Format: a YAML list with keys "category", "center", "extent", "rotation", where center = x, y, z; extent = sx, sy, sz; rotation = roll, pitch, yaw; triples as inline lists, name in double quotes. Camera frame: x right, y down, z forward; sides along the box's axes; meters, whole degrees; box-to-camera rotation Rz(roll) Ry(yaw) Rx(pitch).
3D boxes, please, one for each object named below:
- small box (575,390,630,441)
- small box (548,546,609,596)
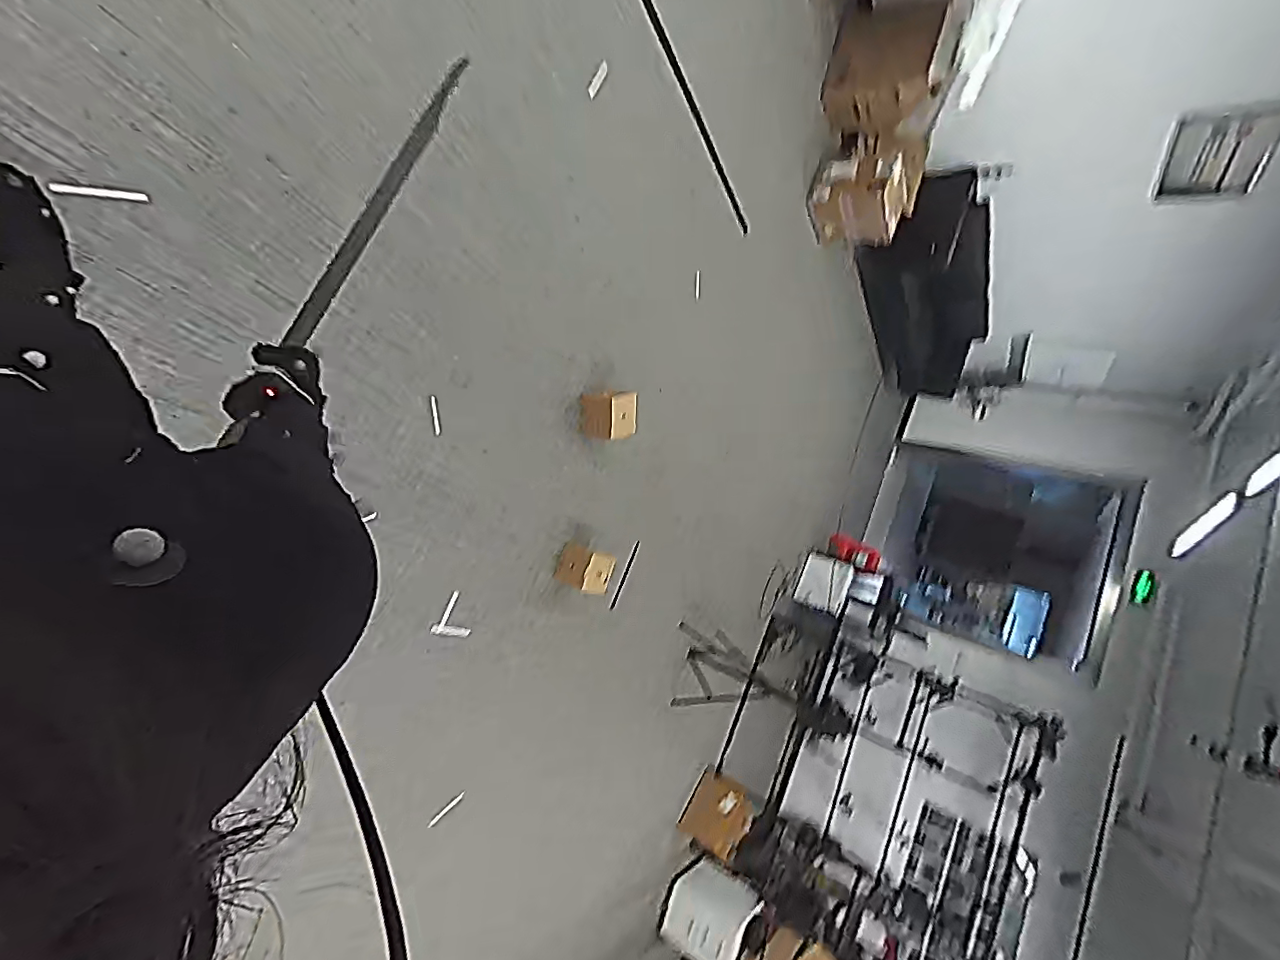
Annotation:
- category: "small box"
  center: [-0.161, -0.275, 2.274]
  extent: [0.168, 0.176, 0.179]
  rotation: [-23, 120, -51]
- category: "small box"
  center: [-0.273, 0.396, 2.370]
  extent: [0.179, 0.176, 0.168]
  rotation: [26, 81, -54]
